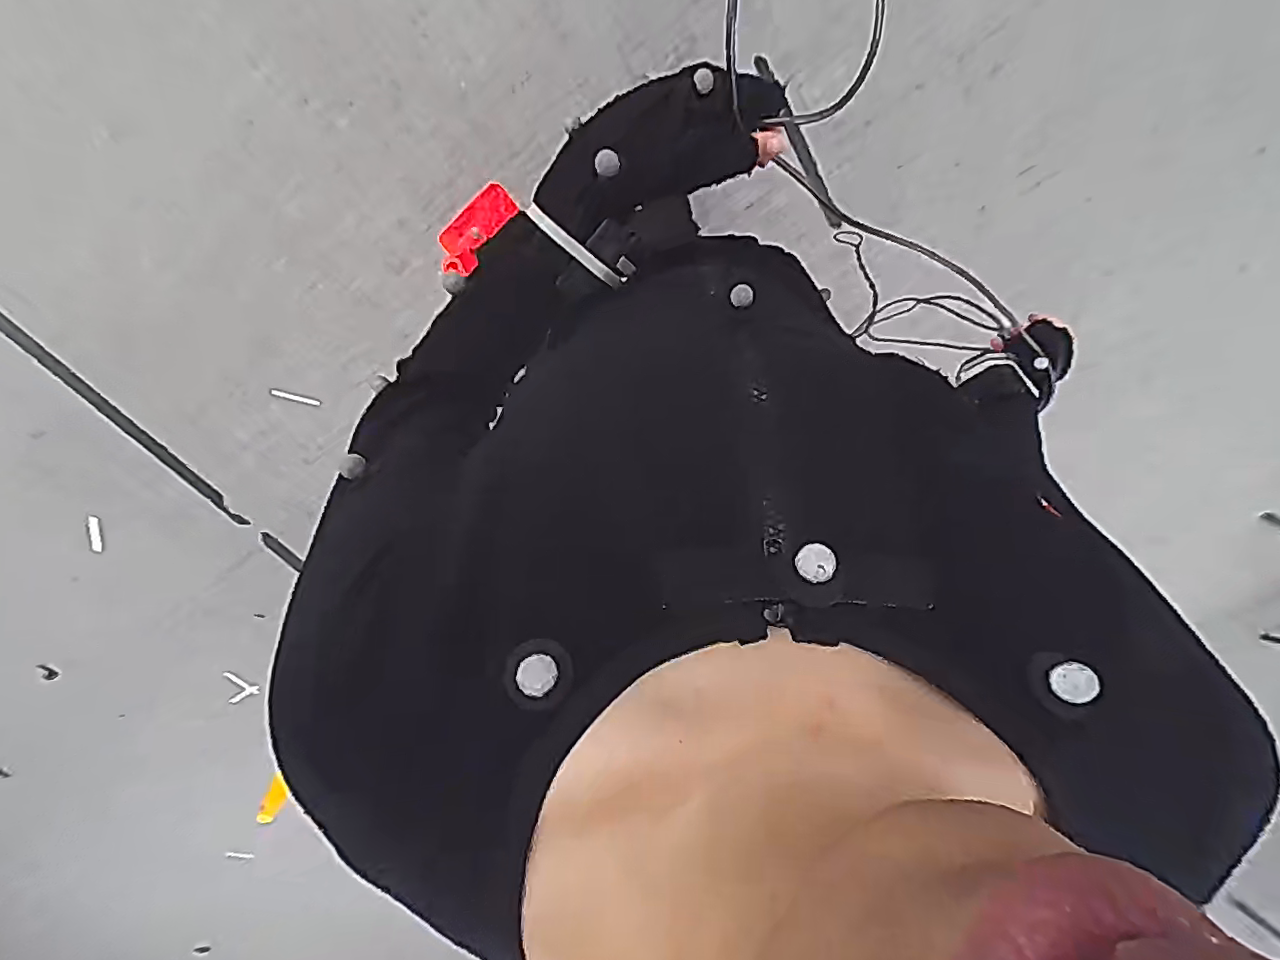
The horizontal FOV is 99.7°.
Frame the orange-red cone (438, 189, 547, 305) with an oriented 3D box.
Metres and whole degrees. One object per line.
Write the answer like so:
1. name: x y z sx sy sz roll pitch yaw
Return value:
1. orange-red cone: -0.342 -0.457 1.111 0.198 0.360 0.199 -35 113 16
